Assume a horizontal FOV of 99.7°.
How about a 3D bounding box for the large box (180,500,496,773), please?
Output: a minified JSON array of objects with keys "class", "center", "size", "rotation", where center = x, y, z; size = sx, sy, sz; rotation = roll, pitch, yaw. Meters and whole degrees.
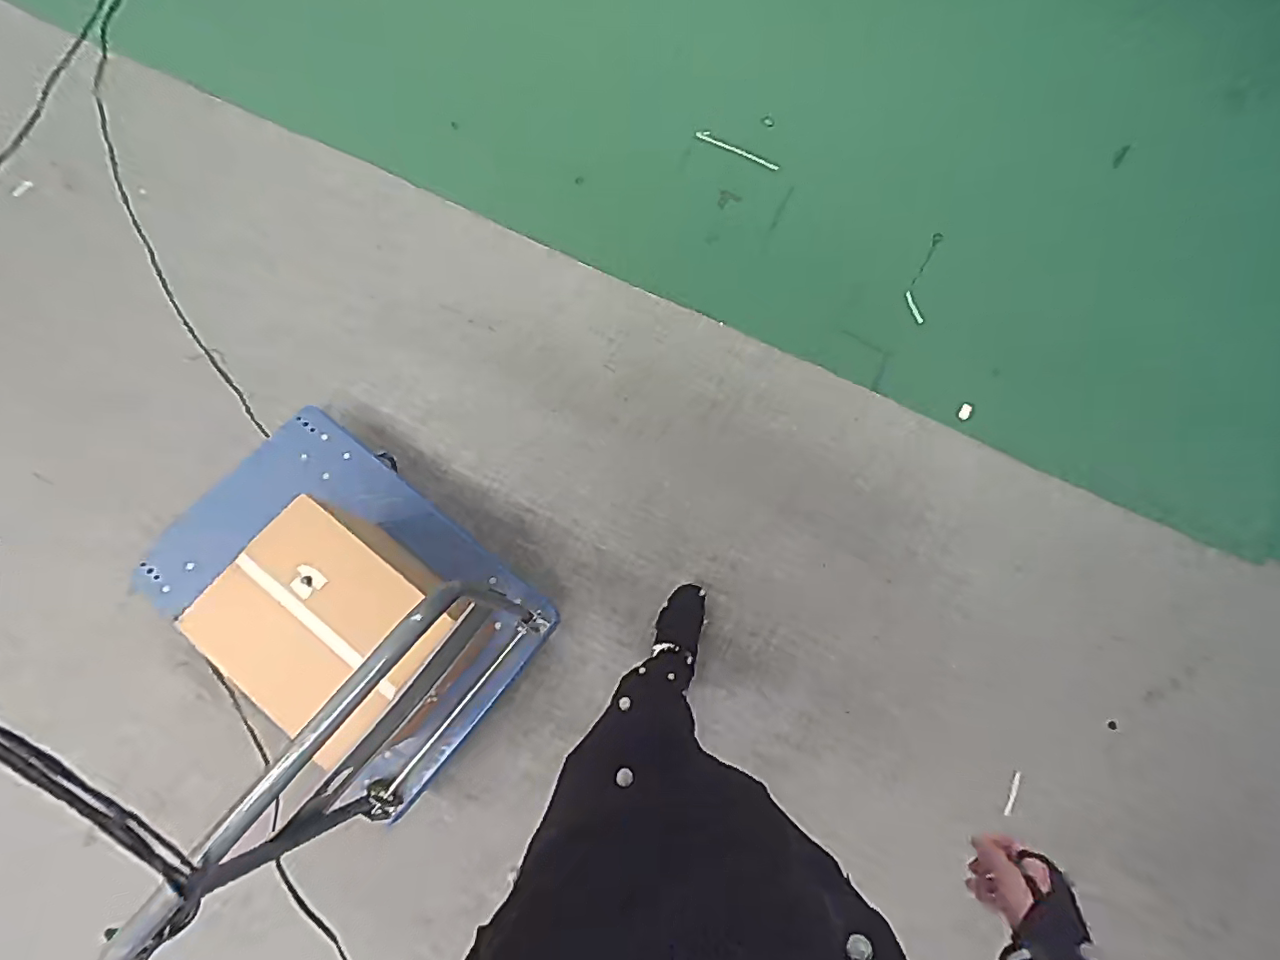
[{"class":"large box","center":[-0.574,0.306,1.110],"size":[0.408,0.320,0.320],"rotation":[36,76,9]}]
